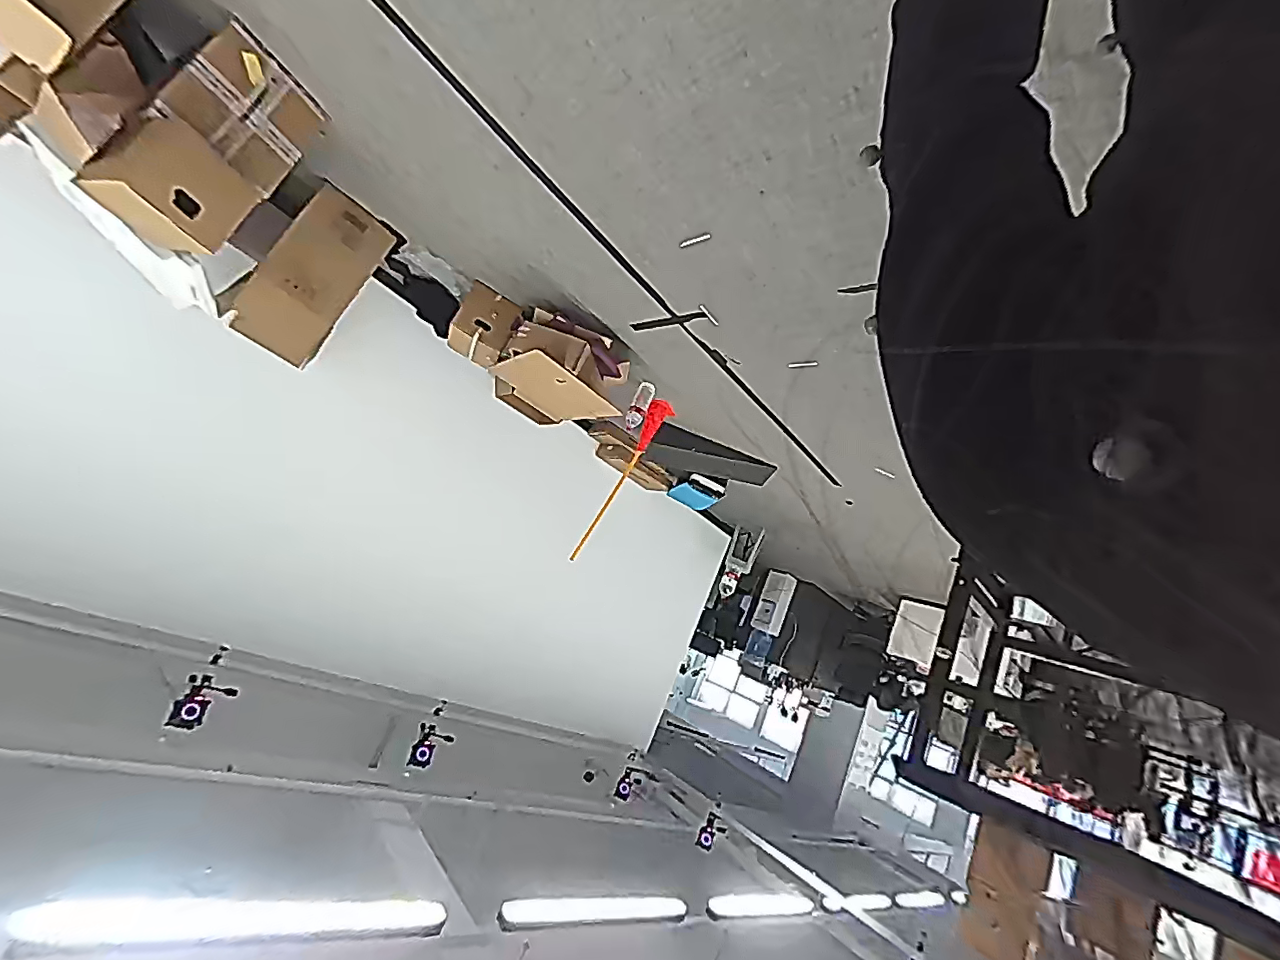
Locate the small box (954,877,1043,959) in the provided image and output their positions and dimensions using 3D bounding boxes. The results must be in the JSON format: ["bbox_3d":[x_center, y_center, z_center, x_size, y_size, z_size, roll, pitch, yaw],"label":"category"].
[{"bbox_3d":[1.008,1.244,1.517,0.168,0.176,0.179,8,159,47],"label":"small box"}]

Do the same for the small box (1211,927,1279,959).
[{"bbox_3d":[1.400,1.147,1.206,0.168,0.176,0.179,9,161,47],"label":"small box"}]

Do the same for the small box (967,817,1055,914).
[{"bbox_3d":[1.071,1.098,1.555,0.168,0.176,0.179,7,158,47],"label":"small box"}]
